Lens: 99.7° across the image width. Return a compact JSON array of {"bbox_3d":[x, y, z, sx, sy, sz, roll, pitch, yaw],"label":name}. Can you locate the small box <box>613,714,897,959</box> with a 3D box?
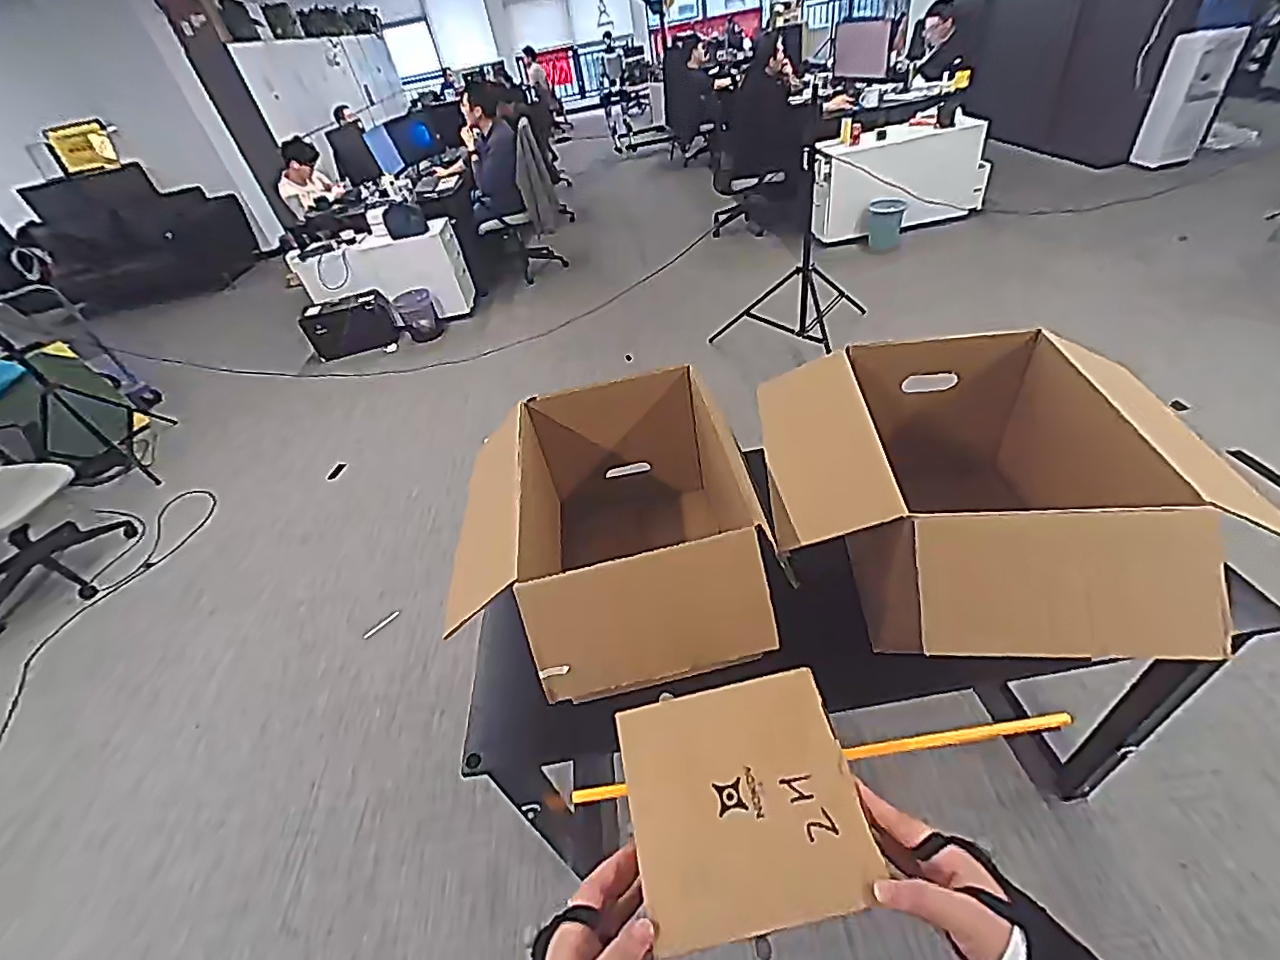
[{"bbox_3d":[0.085,0.325,0.468,0.179,0.176,0.168,-13,53,0],"label":"small box"}]
